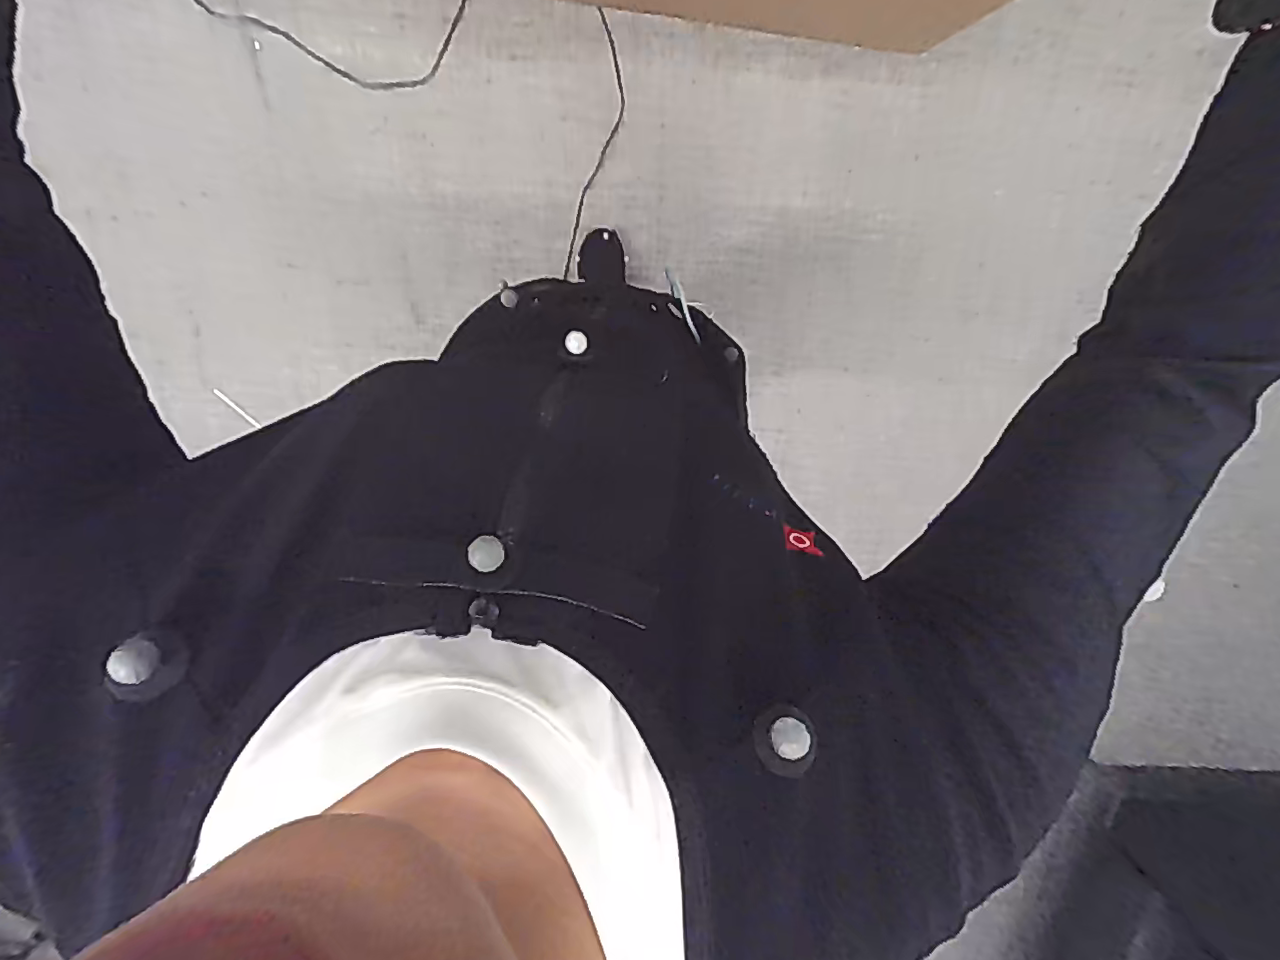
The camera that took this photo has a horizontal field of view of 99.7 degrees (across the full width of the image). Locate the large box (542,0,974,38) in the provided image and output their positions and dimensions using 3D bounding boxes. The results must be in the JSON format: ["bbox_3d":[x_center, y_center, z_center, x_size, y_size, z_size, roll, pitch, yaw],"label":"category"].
[{"bbox_3d":[0.051,-0.458,0.252,0.408,0.320,0.320,7,117,-1],"label":"large box"}]
